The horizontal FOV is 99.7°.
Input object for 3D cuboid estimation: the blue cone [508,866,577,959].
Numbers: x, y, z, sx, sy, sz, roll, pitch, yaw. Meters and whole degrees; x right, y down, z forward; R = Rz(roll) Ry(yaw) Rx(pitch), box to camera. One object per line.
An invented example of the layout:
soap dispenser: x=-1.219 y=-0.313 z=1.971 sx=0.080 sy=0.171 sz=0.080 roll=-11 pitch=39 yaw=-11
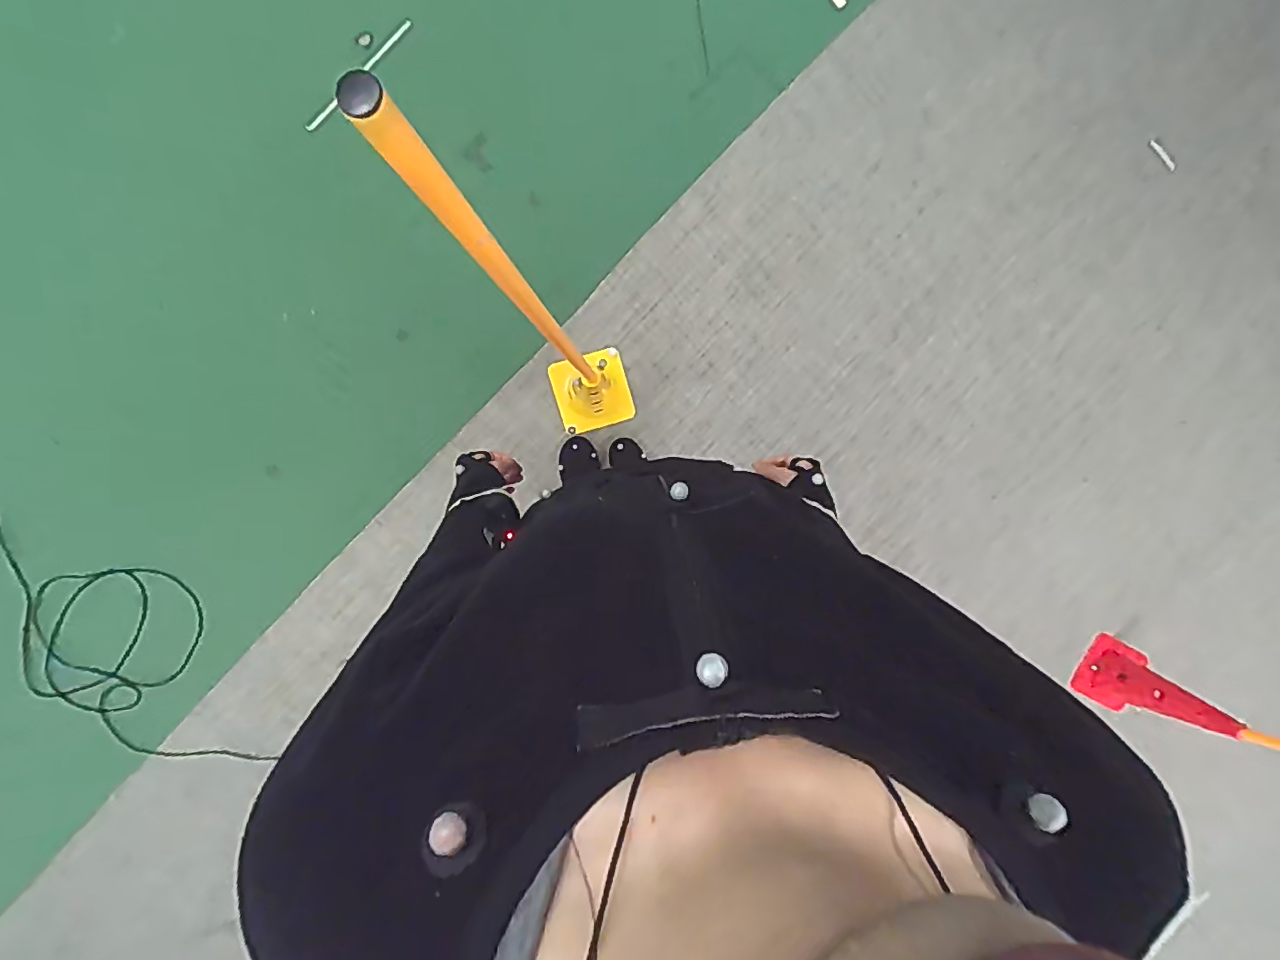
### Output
blue cone: x=-0.259 y=1.213 z=1.384 sx=0.192 sy=0.380 sz=0.193 roll=-1 pitch=97 yaw=-6
